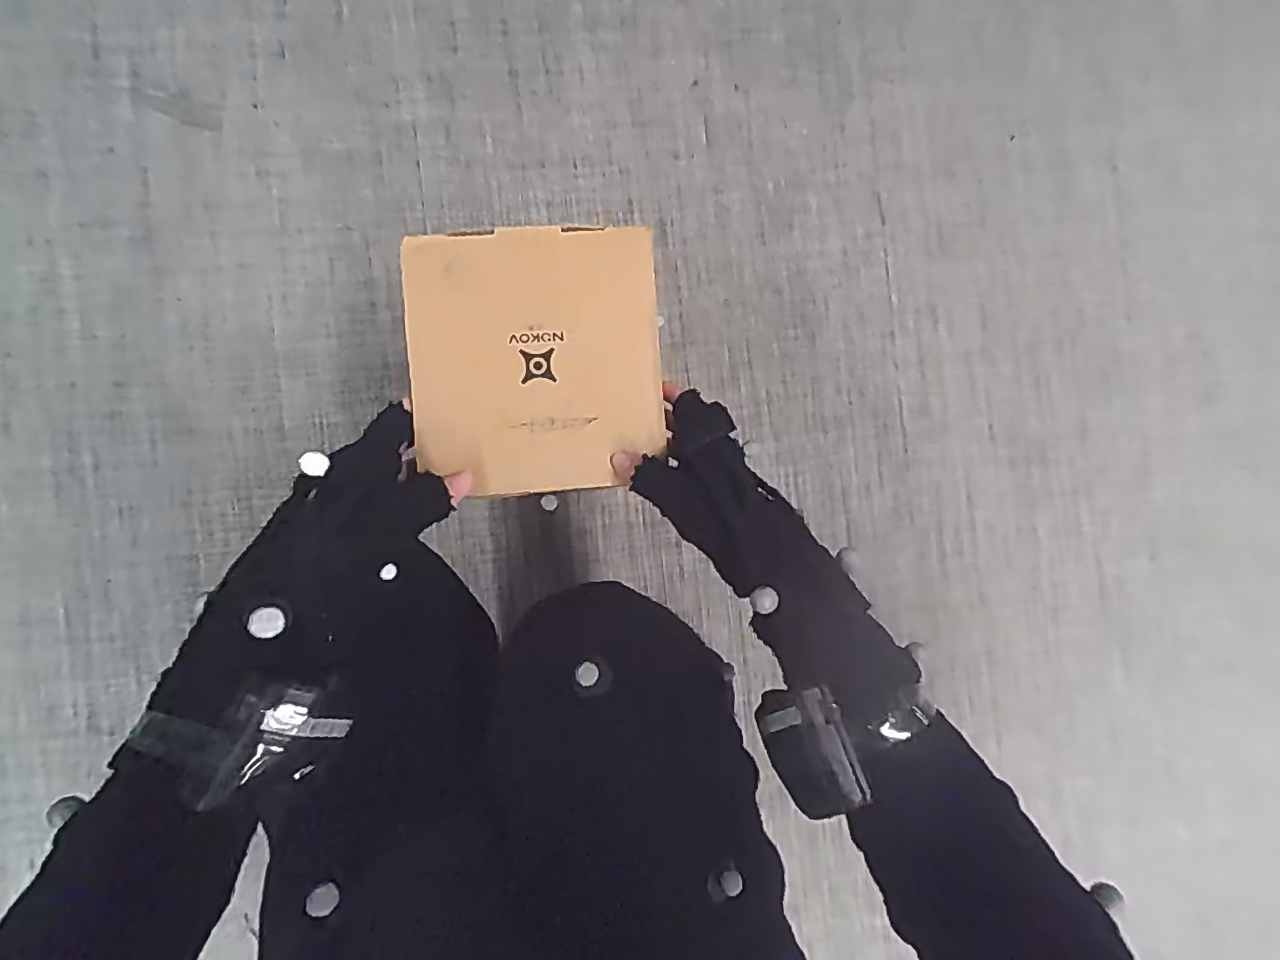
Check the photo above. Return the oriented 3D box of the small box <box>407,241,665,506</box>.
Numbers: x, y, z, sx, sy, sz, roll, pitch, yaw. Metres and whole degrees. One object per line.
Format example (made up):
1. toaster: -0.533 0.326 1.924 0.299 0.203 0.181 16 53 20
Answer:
1. small box: -0.076 -0.072 0.442 0.168 0.176 0.179 -4 90 -5
